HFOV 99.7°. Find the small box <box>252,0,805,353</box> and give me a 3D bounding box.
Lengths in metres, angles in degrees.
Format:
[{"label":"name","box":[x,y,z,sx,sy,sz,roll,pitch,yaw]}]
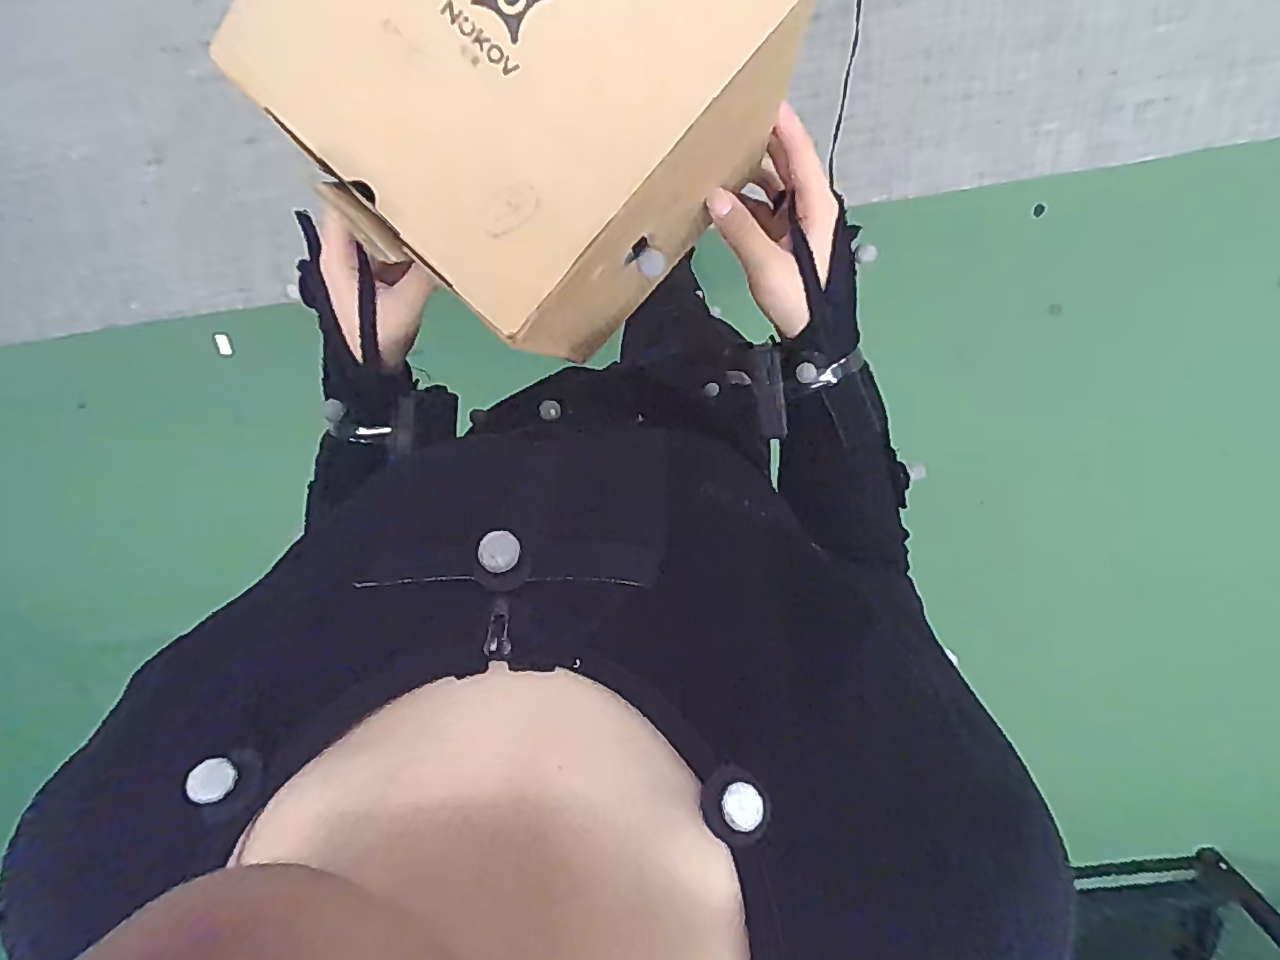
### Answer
[{"label":"small box","box":[-0.043,-0.187,0.296,0.168,0.176,0.179,43,100,-3]}]
